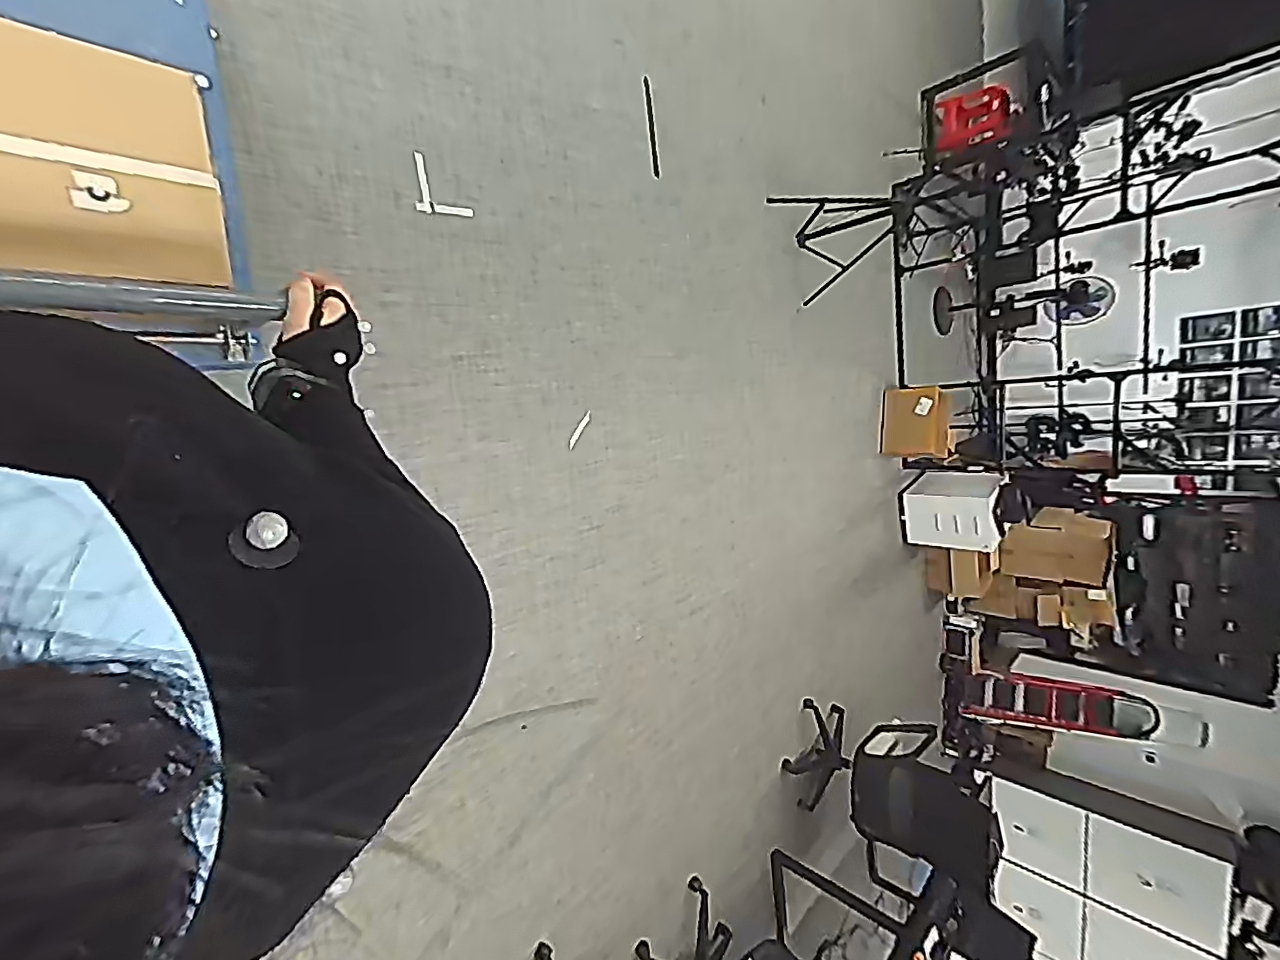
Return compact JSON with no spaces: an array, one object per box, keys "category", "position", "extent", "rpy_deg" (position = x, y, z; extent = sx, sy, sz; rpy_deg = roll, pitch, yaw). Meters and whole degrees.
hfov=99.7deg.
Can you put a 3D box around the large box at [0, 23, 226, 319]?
[{"category":"large box","position":[-0.911,-0.430,0.799],"extent":[0.408,0.320,0.320],"rpy_deg":[-12,101,-45]}]
